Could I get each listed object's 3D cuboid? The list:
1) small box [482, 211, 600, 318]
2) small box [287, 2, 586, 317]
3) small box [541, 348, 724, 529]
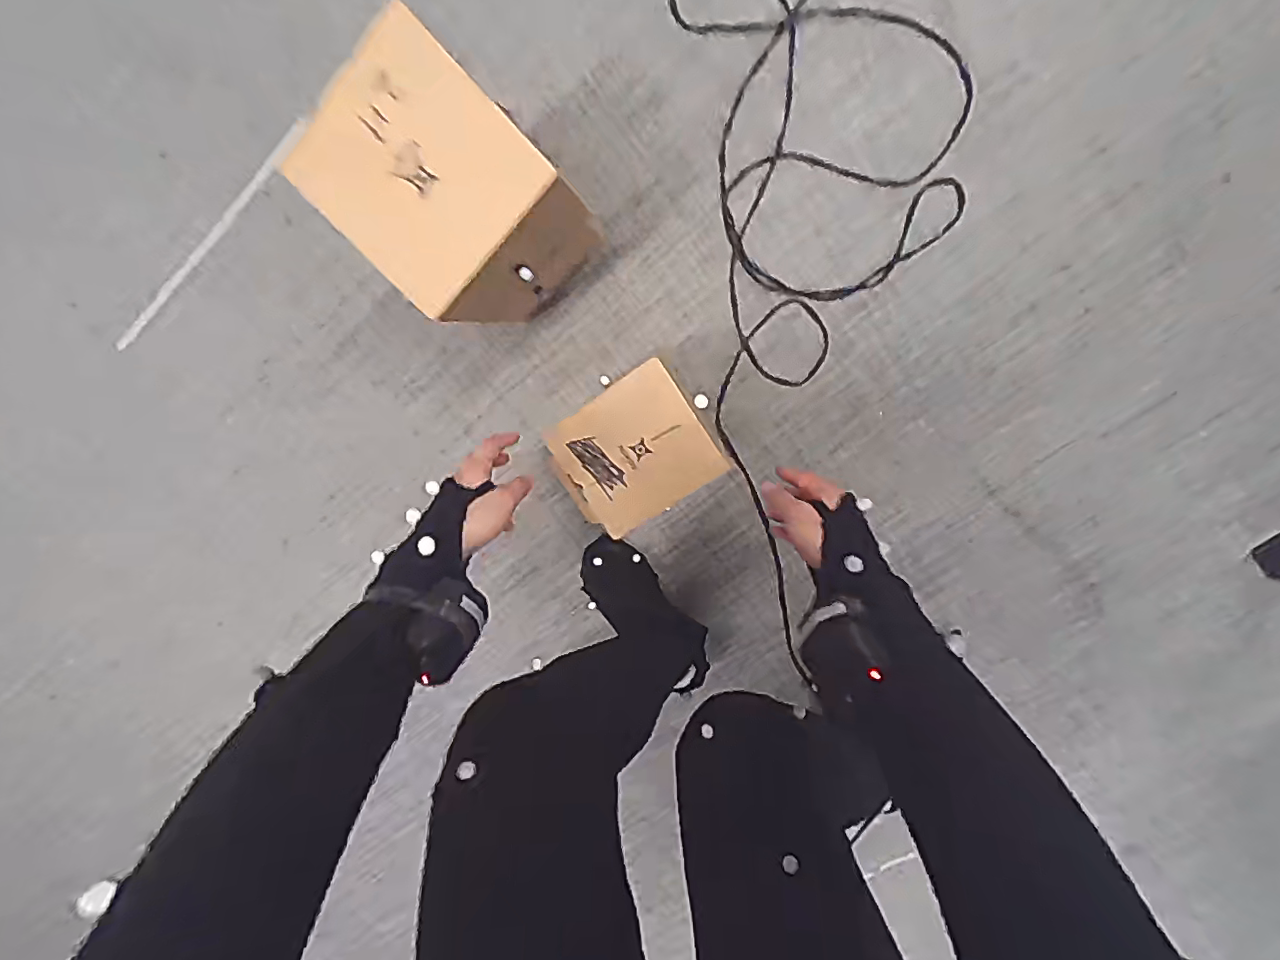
[{"bbox_3d":[-0.170,-0.327,0.682,0.168,0.176,0.179,-41,98,14],"label":"small box"},{"bbox_3d":[-0.175,-0.280,0.524,0.168,0.176,0.179,-42,98,14],"label":"small box"},{"bbox_3d":[-0.003,-0.064,0.740,0.179,0.176,0.168,-32,101,12],"label":"small box"}]
